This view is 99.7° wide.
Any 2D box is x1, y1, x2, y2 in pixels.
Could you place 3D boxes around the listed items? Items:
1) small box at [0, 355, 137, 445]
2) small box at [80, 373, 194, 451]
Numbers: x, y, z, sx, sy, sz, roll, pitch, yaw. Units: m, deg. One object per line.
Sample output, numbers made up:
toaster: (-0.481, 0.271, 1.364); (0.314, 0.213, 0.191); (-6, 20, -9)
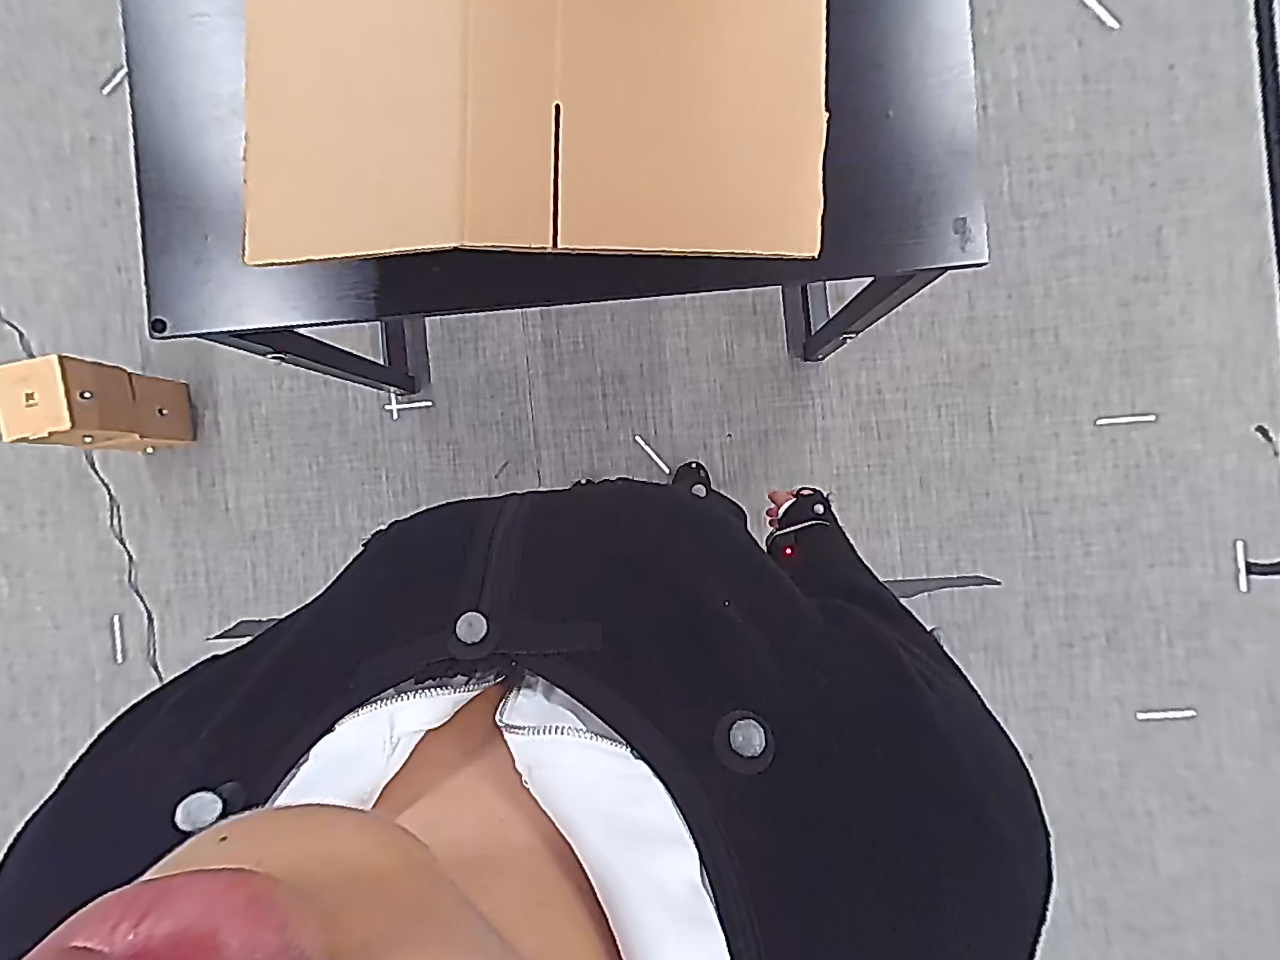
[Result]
small box: (-1.372, -0.184, 1.302); (0.168, 0.176, 0.179); (-11, 89, 1)
small box: (-1.365, -0.179, 1.465); (0.168, 0.176, 0.179); (-9, 91, 2)
